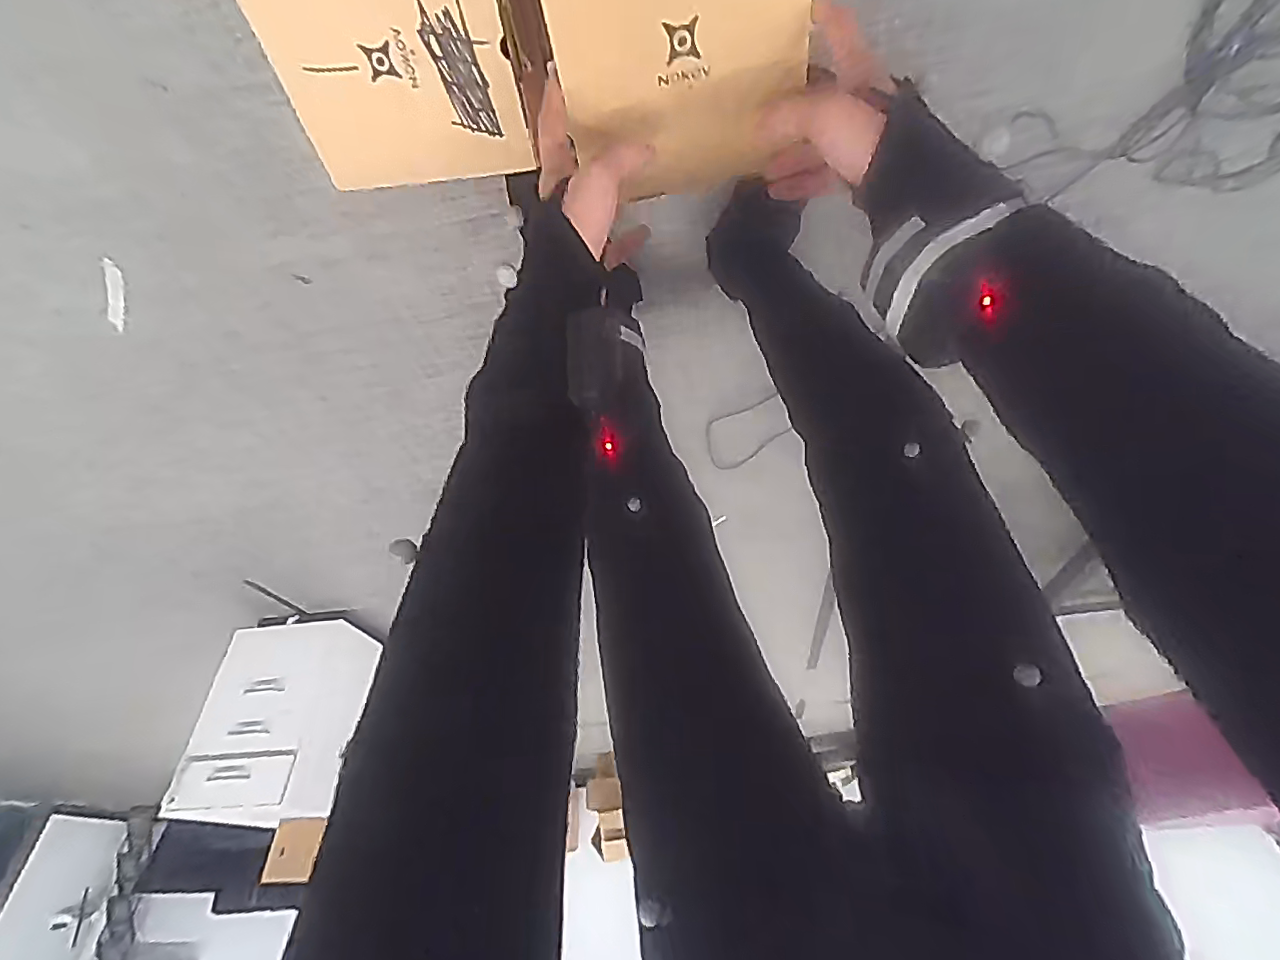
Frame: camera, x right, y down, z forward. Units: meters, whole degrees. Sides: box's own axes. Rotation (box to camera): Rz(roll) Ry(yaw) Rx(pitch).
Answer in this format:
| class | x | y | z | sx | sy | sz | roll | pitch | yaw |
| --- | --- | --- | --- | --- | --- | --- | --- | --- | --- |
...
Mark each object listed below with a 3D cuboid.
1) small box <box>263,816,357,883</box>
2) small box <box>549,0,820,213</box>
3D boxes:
| class | x | y | z | sx | sy | sz | roll | pitch | yaw |
| --- | --- | --- | --- | --- | --- | --- | --- | --- | --- |
| small box | -1.055 | 1.196 | 1.746 | 0.179 | 0.176 | 0.168 | -6 | 144 | 5 |
| small box | 0.023 | -0.333 | 0.393 | 0.168 | 0.176 | 0.179 | -10 | 142 | 4 |
